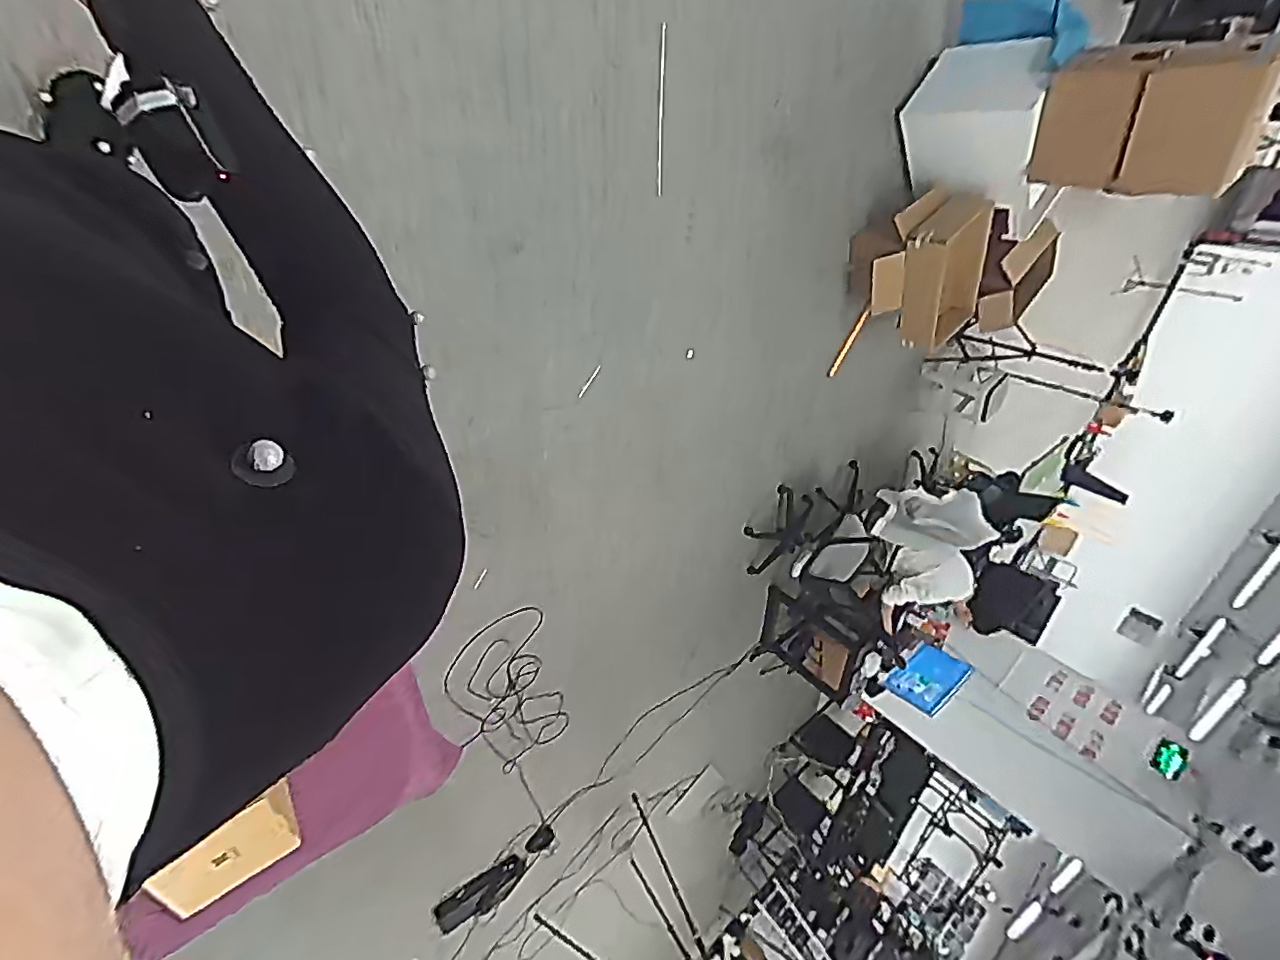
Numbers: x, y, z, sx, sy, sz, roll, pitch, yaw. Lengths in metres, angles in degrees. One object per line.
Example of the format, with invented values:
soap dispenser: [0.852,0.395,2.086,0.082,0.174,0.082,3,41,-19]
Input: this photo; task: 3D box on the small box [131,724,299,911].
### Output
small box: [-0.727,0.570,0.931,0.179,0.176,0.168,-25,130,-32]
